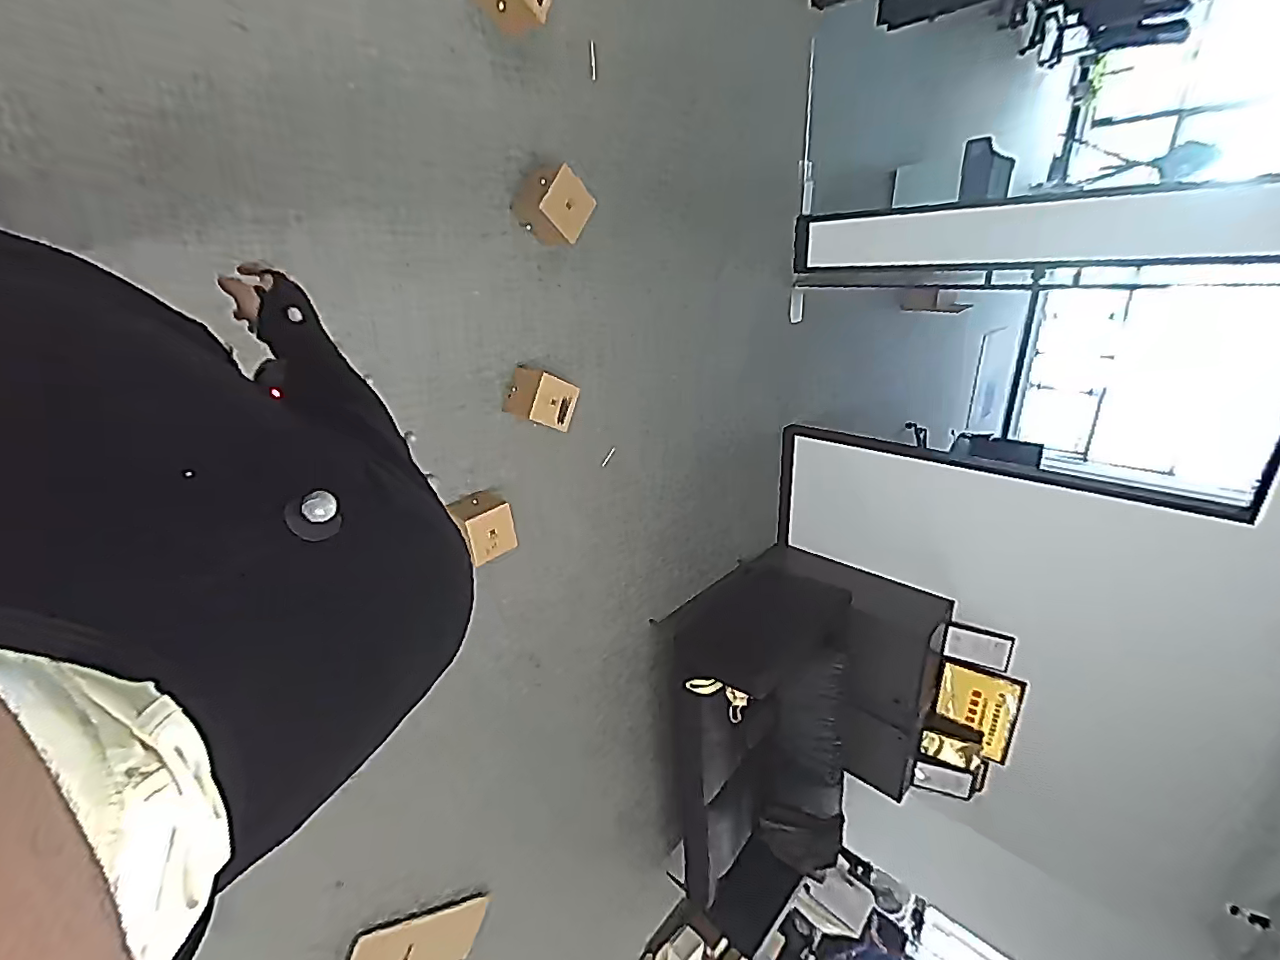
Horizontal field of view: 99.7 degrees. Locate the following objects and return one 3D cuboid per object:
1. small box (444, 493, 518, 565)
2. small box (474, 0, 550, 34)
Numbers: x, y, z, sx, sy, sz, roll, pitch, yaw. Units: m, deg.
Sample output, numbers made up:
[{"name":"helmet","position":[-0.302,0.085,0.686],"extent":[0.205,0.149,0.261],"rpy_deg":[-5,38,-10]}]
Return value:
[{"name":"small box","position":[-0.546,0.157,1.845],"extent":[0.168,0.176,0.179],"rpy_deg":[-27,123,-39]},{"name":"small box","position":[-0.357,-1.388,1.496],"extent":[0.179,0.176,0.168],"rpy_deg":[21,87,-49]}]
